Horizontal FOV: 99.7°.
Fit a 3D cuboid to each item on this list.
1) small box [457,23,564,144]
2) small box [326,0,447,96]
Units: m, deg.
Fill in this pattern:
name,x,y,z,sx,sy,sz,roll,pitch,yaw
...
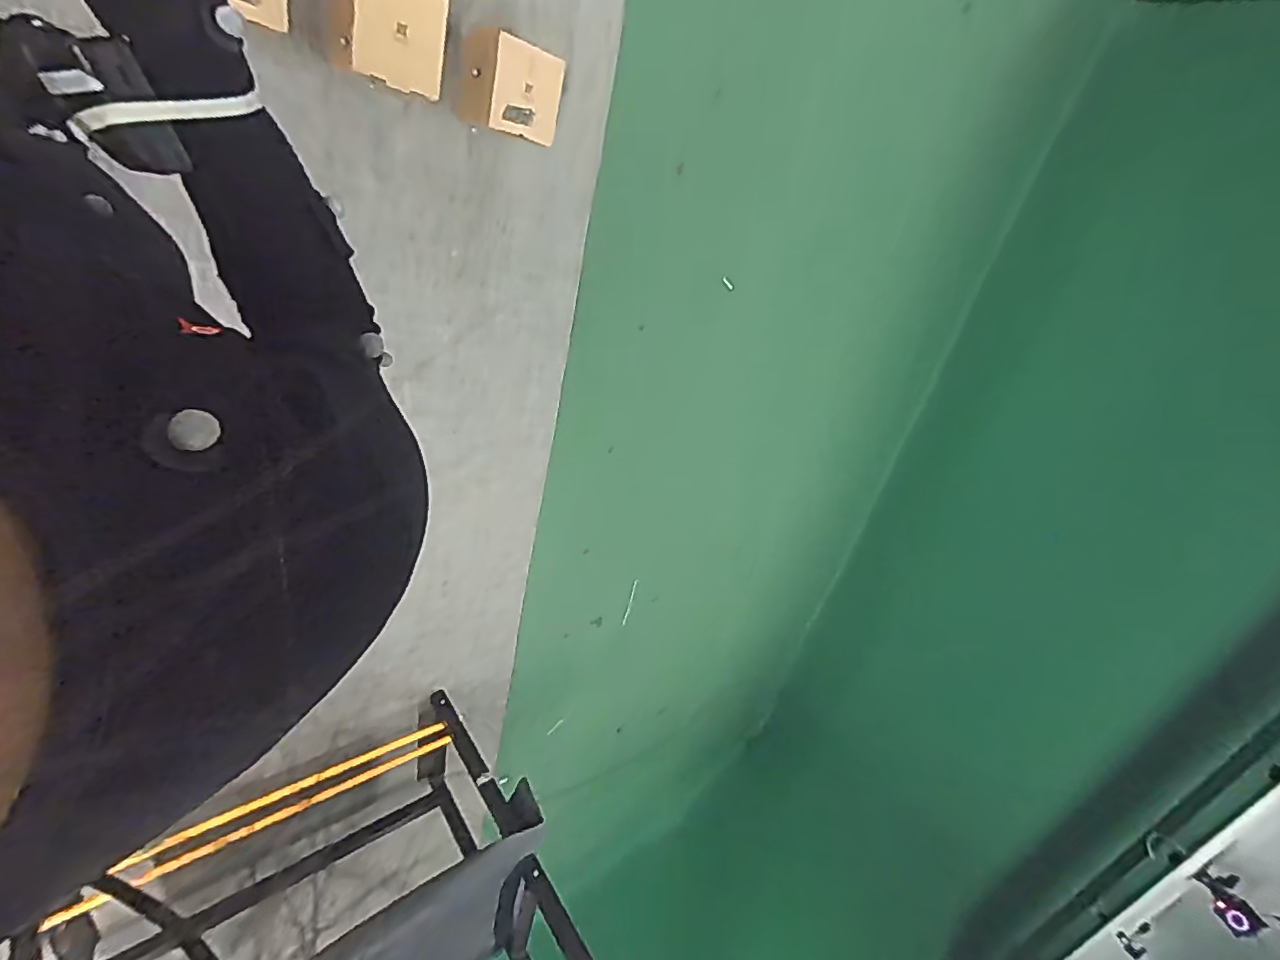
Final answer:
name,x,y,z,sx,sy,sz,roll,pitch,yaw
small box,-0.301,-0.900,1.235,0.168,0.176,0.179,-8,125,-42
small box,-0.495,-0.882,1.050,0.168,0.176,0.179,-8,125,-43
